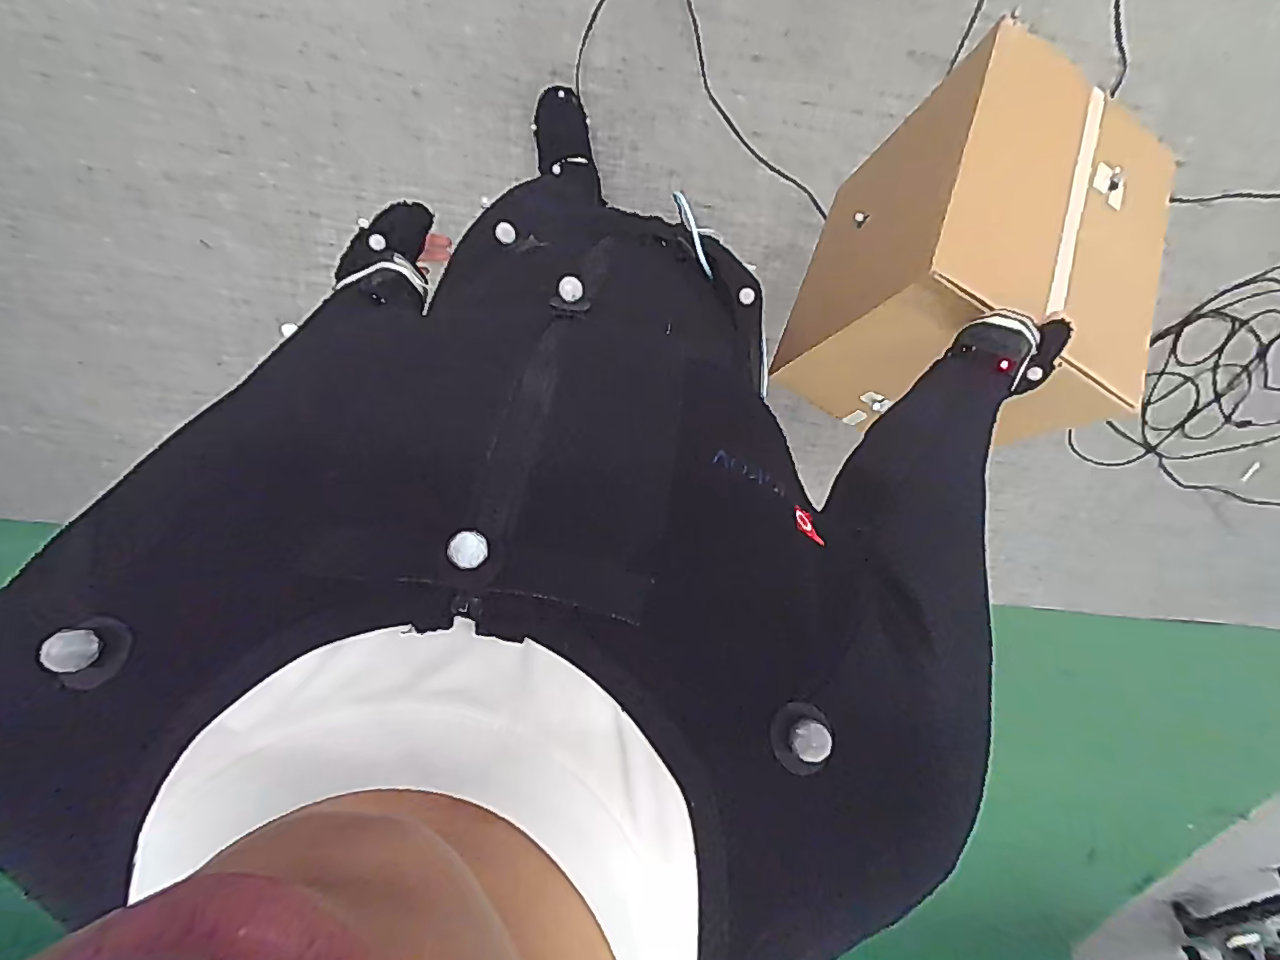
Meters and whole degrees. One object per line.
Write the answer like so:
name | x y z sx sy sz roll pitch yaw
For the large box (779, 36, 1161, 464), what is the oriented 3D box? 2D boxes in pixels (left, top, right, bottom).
large box | 0.456 -0.285 0.783 0.320 0.320 0.408 27 73 -13
